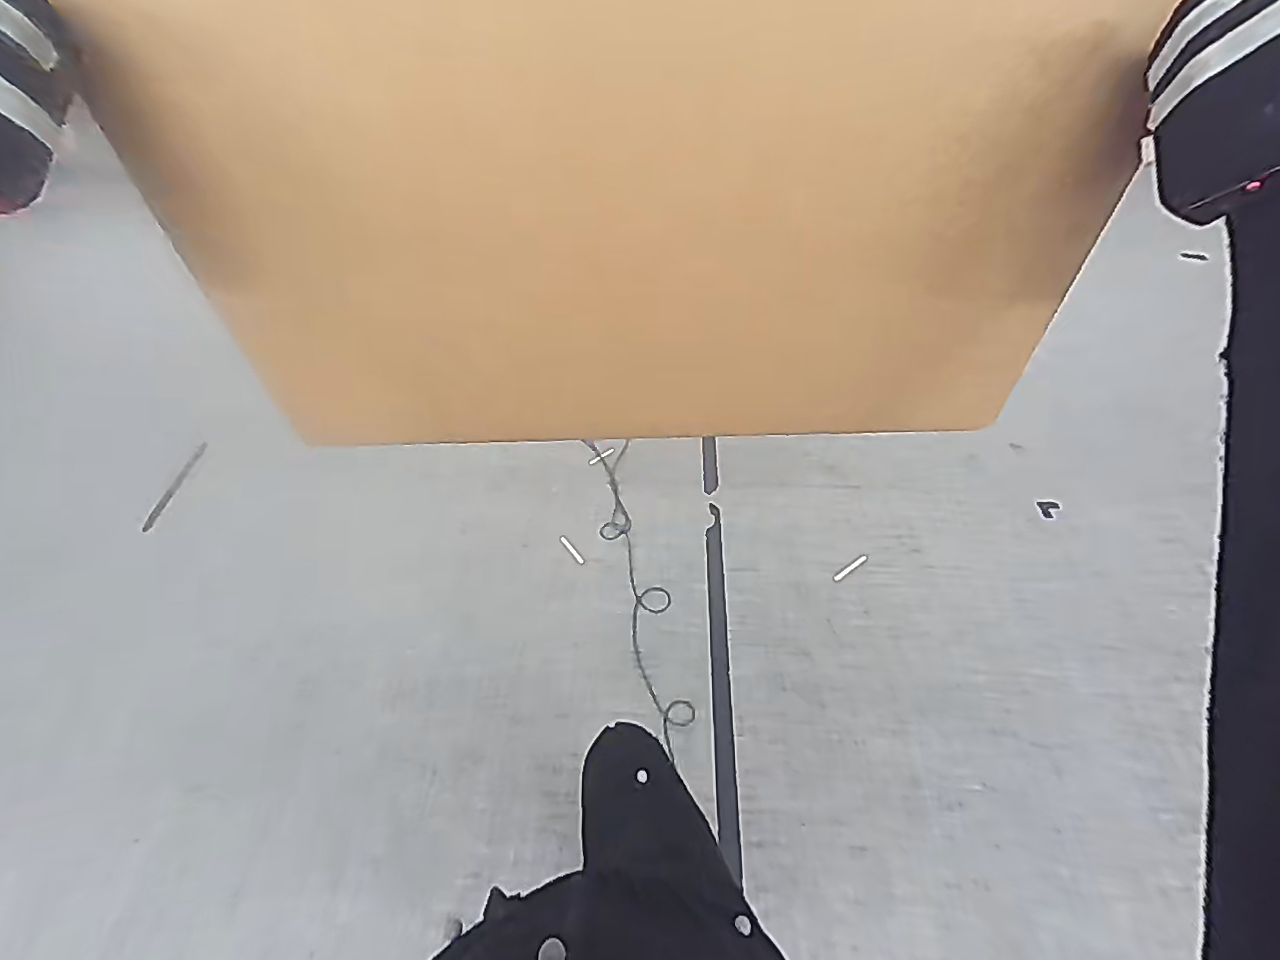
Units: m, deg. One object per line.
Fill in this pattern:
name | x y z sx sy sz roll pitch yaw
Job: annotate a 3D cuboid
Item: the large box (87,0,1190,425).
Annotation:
large box | -0.001 -0.246 0.322 0.408 0.320 0.320 -1 45 -1
